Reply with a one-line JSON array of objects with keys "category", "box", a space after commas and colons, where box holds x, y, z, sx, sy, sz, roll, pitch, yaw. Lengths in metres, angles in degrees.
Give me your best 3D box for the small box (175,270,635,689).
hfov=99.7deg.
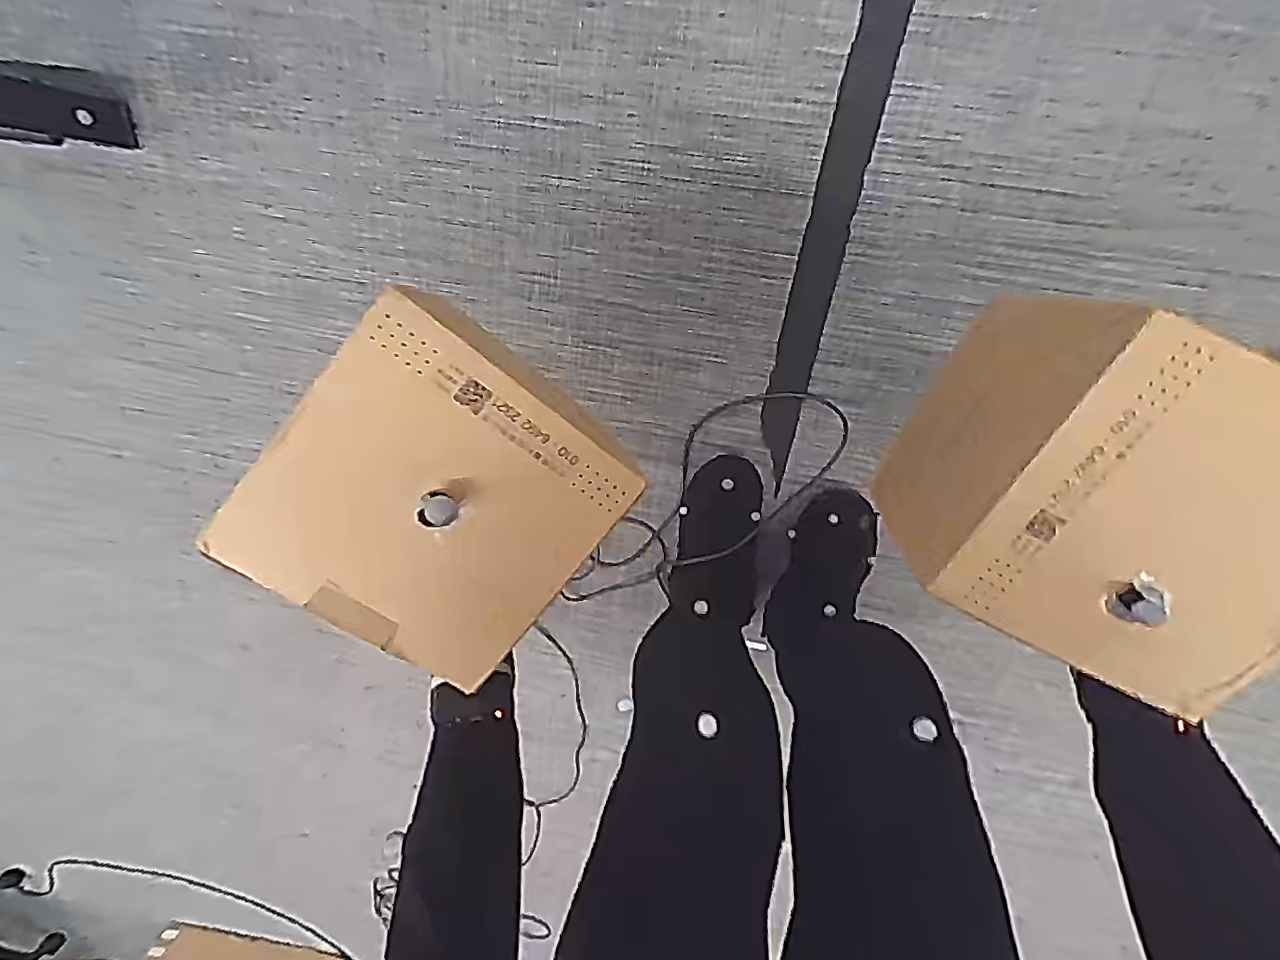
[{"category": "small box", "box": [-0.124, -0.013, 0.348, 0.168, 0.179, 0.176, 39, 95, -19]}]
